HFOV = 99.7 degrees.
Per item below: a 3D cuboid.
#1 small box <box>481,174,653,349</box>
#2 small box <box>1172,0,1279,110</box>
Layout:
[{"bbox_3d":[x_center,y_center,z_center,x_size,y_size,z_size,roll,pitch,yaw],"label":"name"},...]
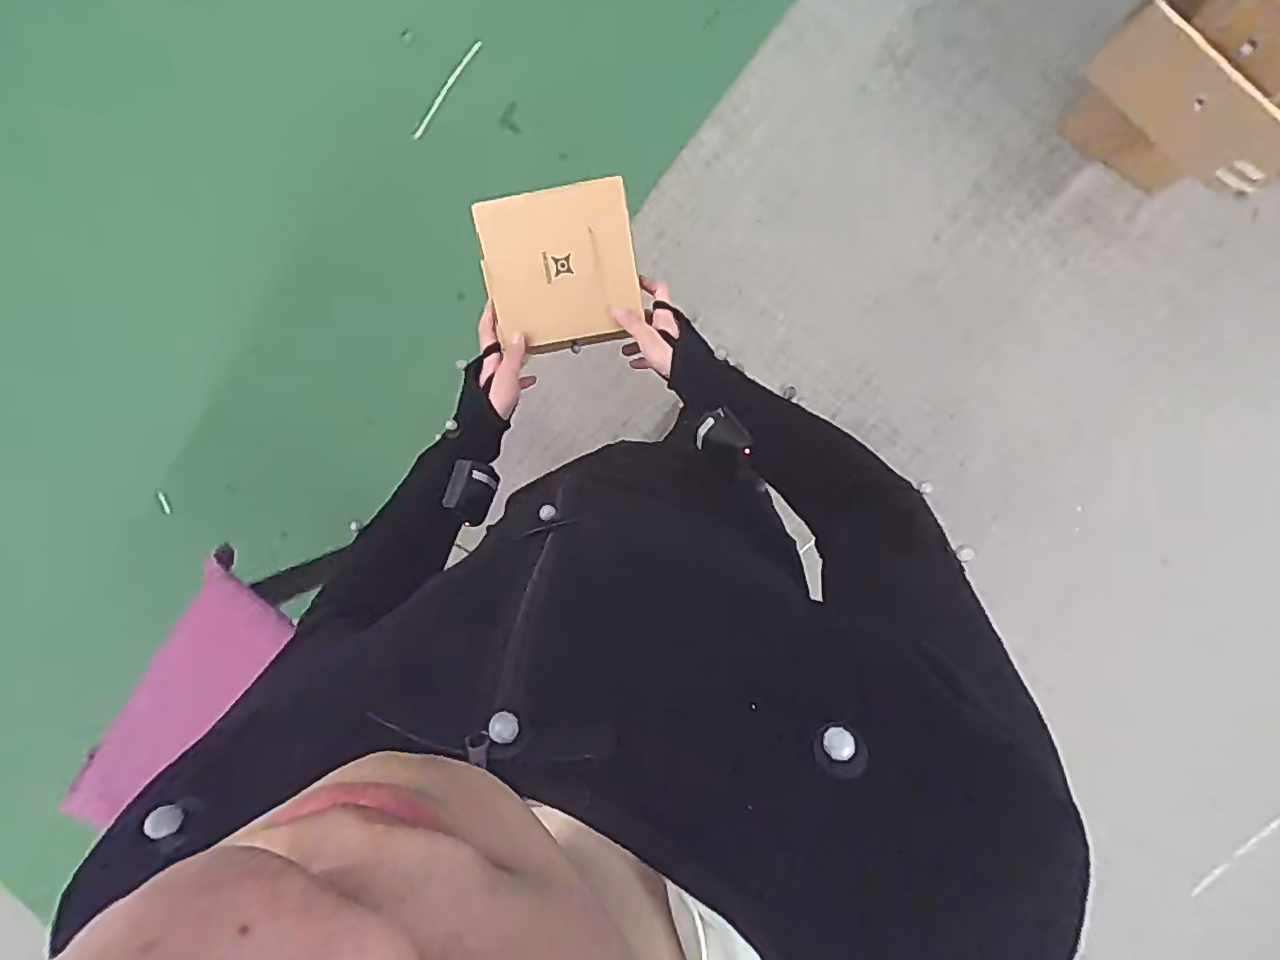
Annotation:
[{"bbox_3d":[-0.079,-0.262,0.689,0.179,0.176,0.168,-8,102,3],"label":"small box"},{"bbox_3d":[1.072,-0.774,0.901,0.179,0.176,0.168,44,99,-1],"label":"small box"}]
